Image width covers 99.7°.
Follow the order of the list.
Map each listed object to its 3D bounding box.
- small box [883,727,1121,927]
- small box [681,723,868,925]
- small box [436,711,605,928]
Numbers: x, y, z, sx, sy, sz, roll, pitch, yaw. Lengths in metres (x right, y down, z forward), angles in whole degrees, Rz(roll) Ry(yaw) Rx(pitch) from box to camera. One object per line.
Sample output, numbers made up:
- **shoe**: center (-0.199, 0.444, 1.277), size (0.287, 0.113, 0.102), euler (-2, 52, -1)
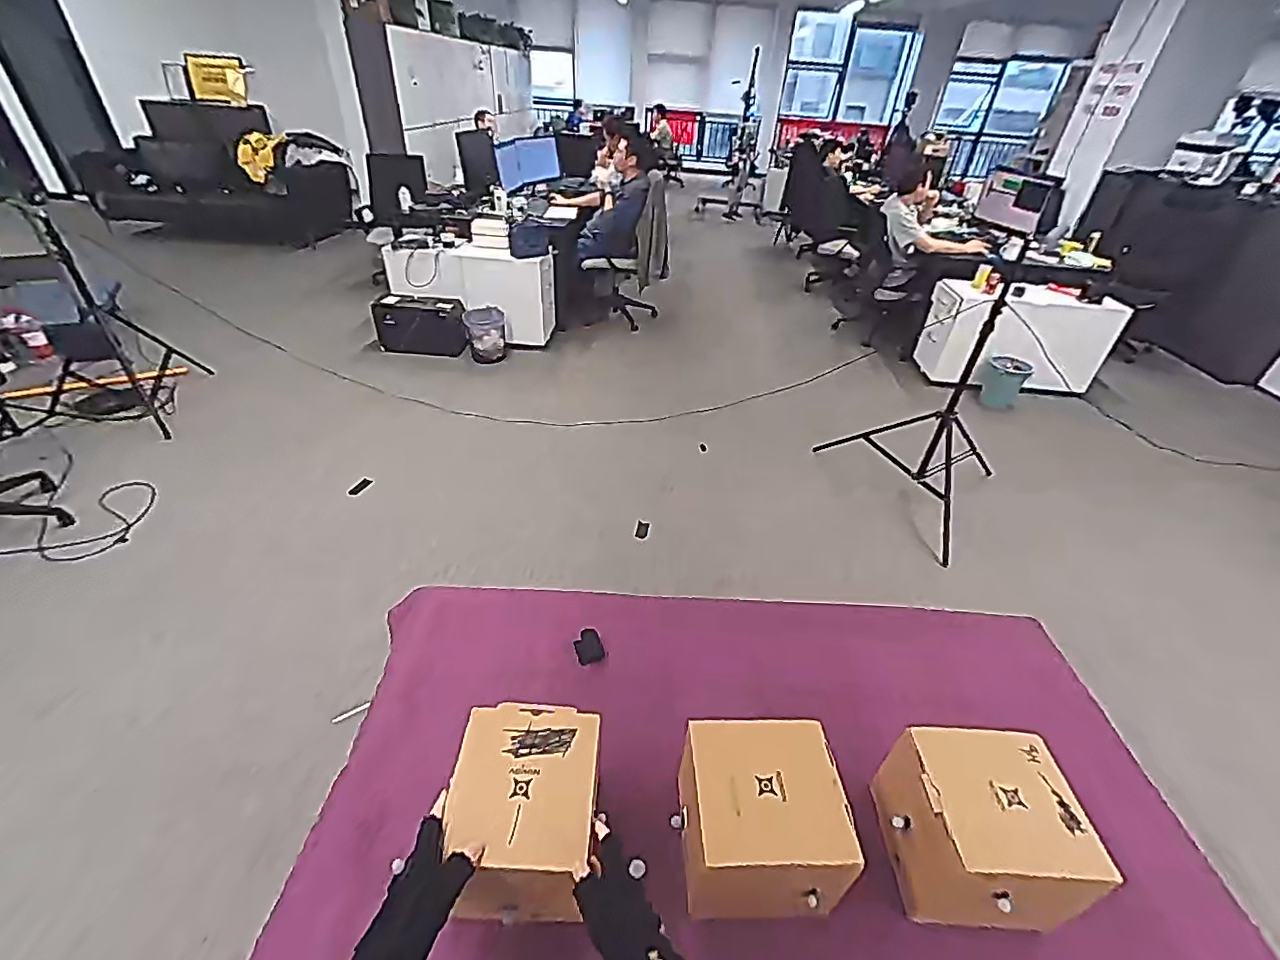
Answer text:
- **small box**: center (0.431, 0.440, 0.688), size (0.179, 0.176, 0.168), euler (3, 36, 0)
- **small box**: center (0.152, 0.430, 0.682), size (0.179, 0.176, 0.168), euler (0, 34, -4)
- **small box**: center (-0.134, 0.417, 0.670), size (0.168, 0.176, 0.179), euler (3, 36, -1)
